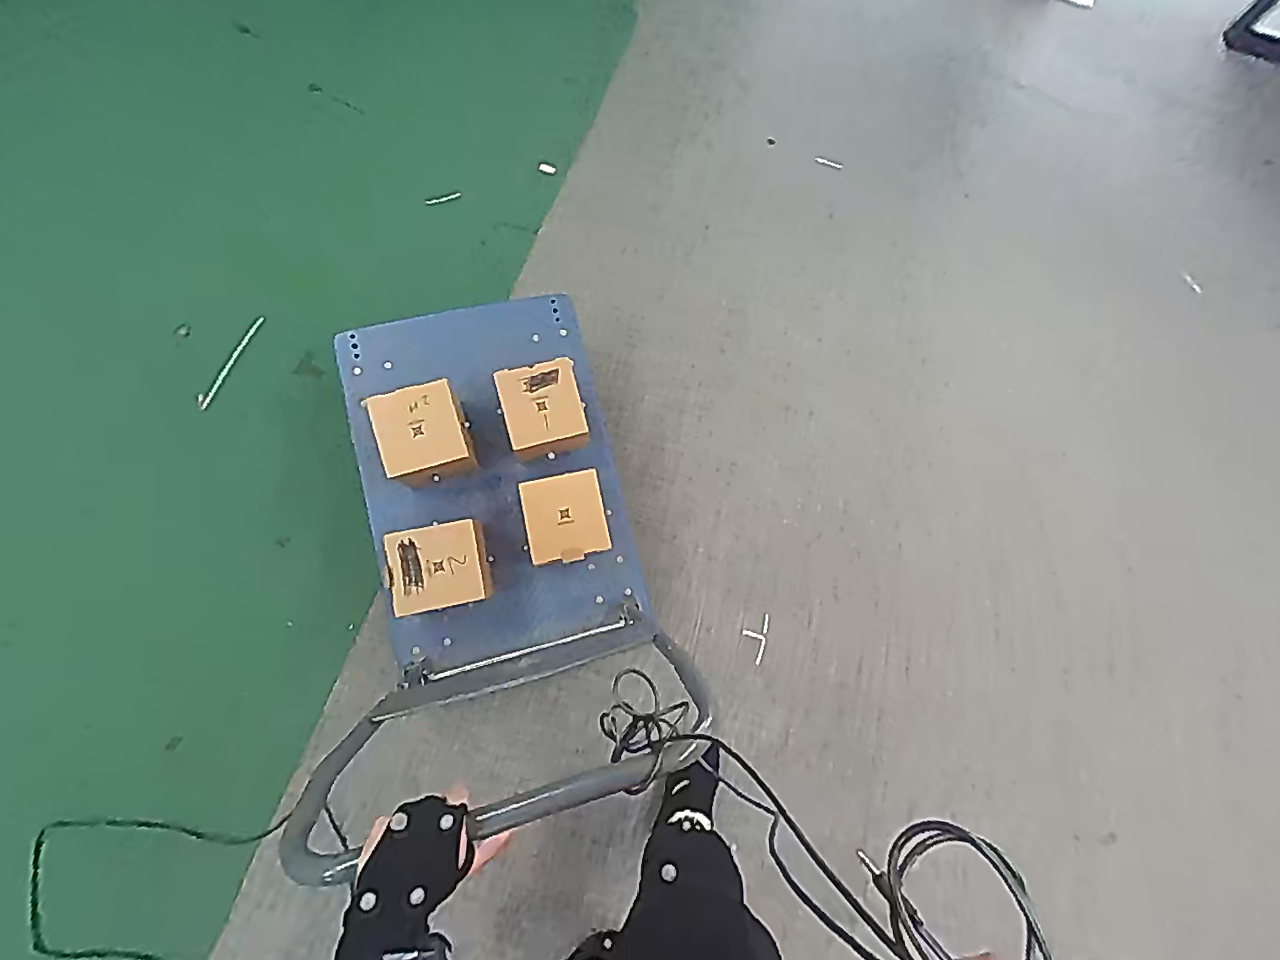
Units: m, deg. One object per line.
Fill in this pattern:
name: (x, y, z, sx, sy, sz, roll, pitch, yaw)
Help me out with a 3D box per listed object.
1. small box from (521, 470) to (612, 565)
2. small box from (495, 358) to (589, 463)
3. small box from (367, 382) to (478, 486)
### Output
small box: (-0.165, 0.087, 1.201, 0.168, 0.176, 0.179, -11, 85, -9)
small box: (-0.220, -0.151, 1.224, 0.168, 0.176, 0.179, -15, 85, -9)
small box: (-0.466, -0.091, 1.183, 0.168, 0.176, 0.179, -17, 85, -11)
